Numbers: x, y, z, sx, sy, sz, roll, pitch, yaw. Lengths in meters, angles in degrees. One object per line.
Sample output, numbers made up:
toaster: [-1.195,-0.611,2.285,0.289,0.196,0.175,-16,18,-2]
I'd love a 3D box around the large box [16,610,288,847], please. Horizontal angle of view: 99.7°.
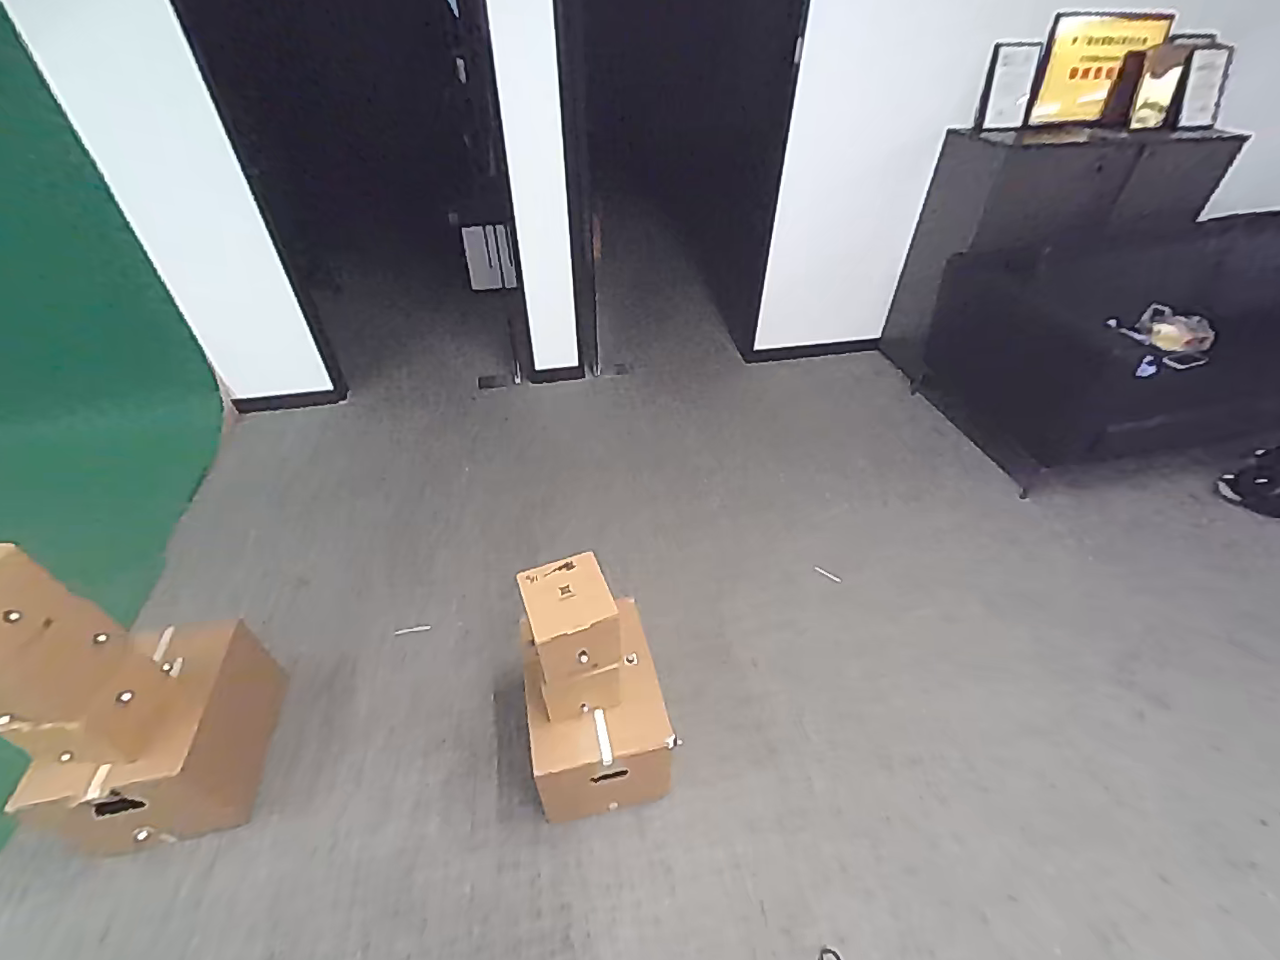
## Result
large box: [-1.144,0.602,1.340,0.320,0.320,0.408,-8,42,-10]

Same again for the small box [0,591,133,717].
small box: [-1.142,0.331,1.036,0.168,0.176,0.179,0,43,1]

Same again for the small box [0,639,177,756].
small box: [-1.136,0.457,1.139,0.168,0.176,0.179,-1,42,-2]

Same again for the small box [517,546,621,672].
small box: [-0.143,0.272,1.117,0.168,0.176,0.179,-15,45,-15]
